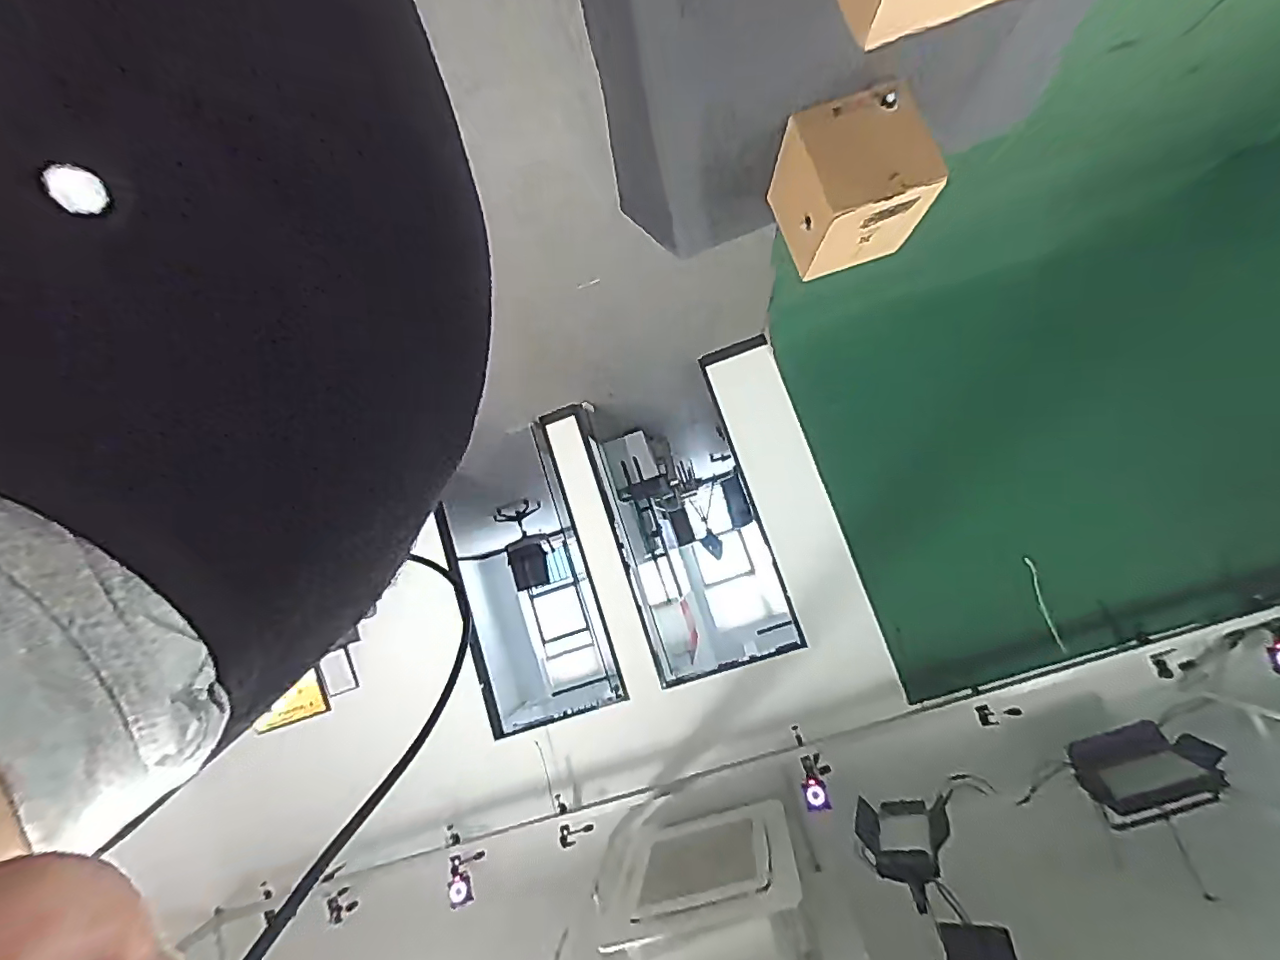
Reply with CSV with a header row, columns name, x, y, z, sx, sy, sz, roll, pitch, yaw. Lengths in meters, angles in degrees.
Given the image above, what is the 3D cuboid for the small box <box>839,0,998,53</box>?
name,x,y,z,sx,sy,sz,roll,pitch,yaw
small box,0.233,-0.484,0.395,0.168,0.176,0.179,-20,171,4

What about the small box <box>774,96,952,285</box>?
name,x,y,z,sx,sy,sz,roll,pitch,yaw
small box,0.319,-0.435,0.816,0.168,0.176,0.179,-19,171,0
